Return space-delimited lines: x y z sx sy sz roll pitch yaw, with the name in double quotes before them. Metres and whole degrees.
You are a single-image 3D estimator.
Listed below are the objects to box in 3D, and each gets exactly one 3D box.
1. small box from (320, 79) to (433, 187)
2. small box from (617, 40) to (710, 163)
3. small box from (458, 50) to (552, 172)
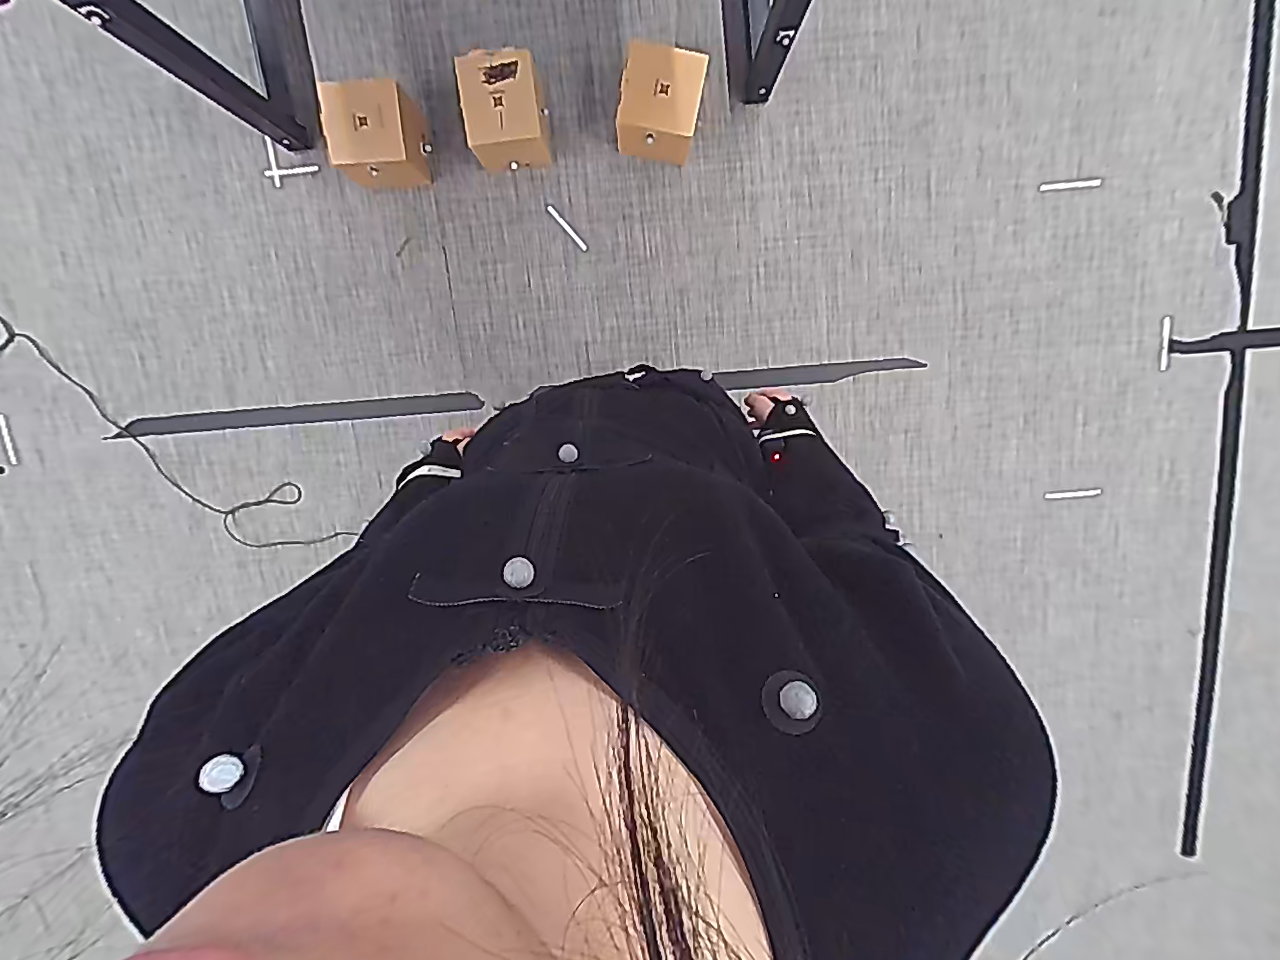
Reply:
"small box" -0.607 -0.801 1.264 0.179 0.176 0.168 -3 101 0
"small box" 0.052 -0.862 1.252 0.179 0.176 0.168 12 101 -1
"small box" -0.305 -0.846 1.253 0.168 0.176 0.179 -6 101 1
